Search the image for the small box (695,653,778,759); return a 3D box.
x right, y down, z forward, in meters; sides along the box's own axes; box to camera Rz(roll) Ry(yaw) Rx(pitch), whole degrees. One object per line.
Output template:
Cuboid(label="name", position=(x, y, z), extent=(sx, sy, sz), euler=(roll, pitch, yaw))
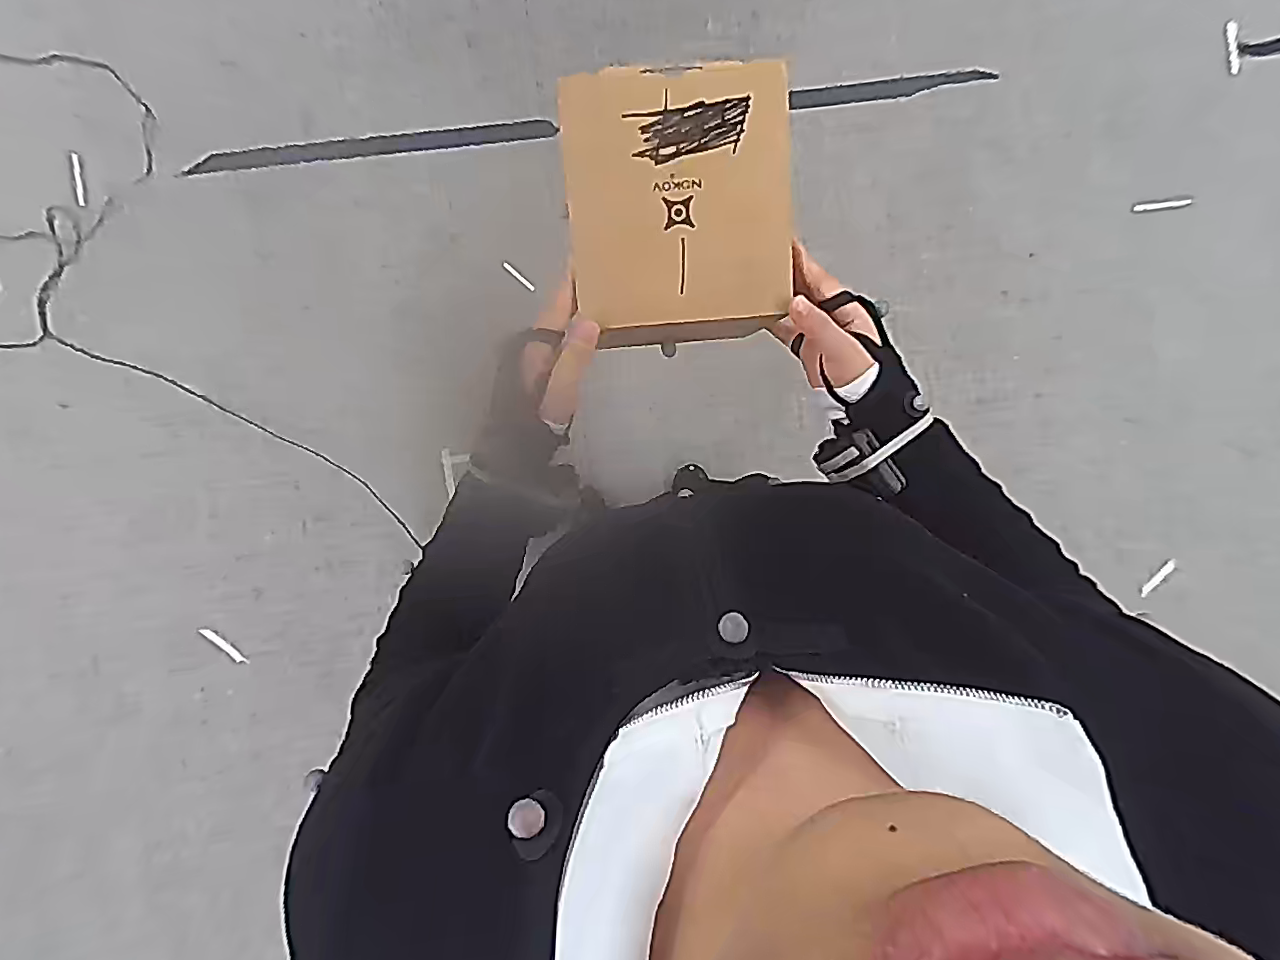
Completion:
Cuboid(label="small box", position=(0.230, 0.548, 1.328), extent=(0.168, 0.176, 0.179), euler=(-8, 92, 1))

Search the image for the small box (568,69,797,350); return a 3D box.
Cuboid(label="small box", position=(0.031, -0.217, 0.480), extent=(0.168, 0.176, 0.179), euler=(-5, 99, 0))
